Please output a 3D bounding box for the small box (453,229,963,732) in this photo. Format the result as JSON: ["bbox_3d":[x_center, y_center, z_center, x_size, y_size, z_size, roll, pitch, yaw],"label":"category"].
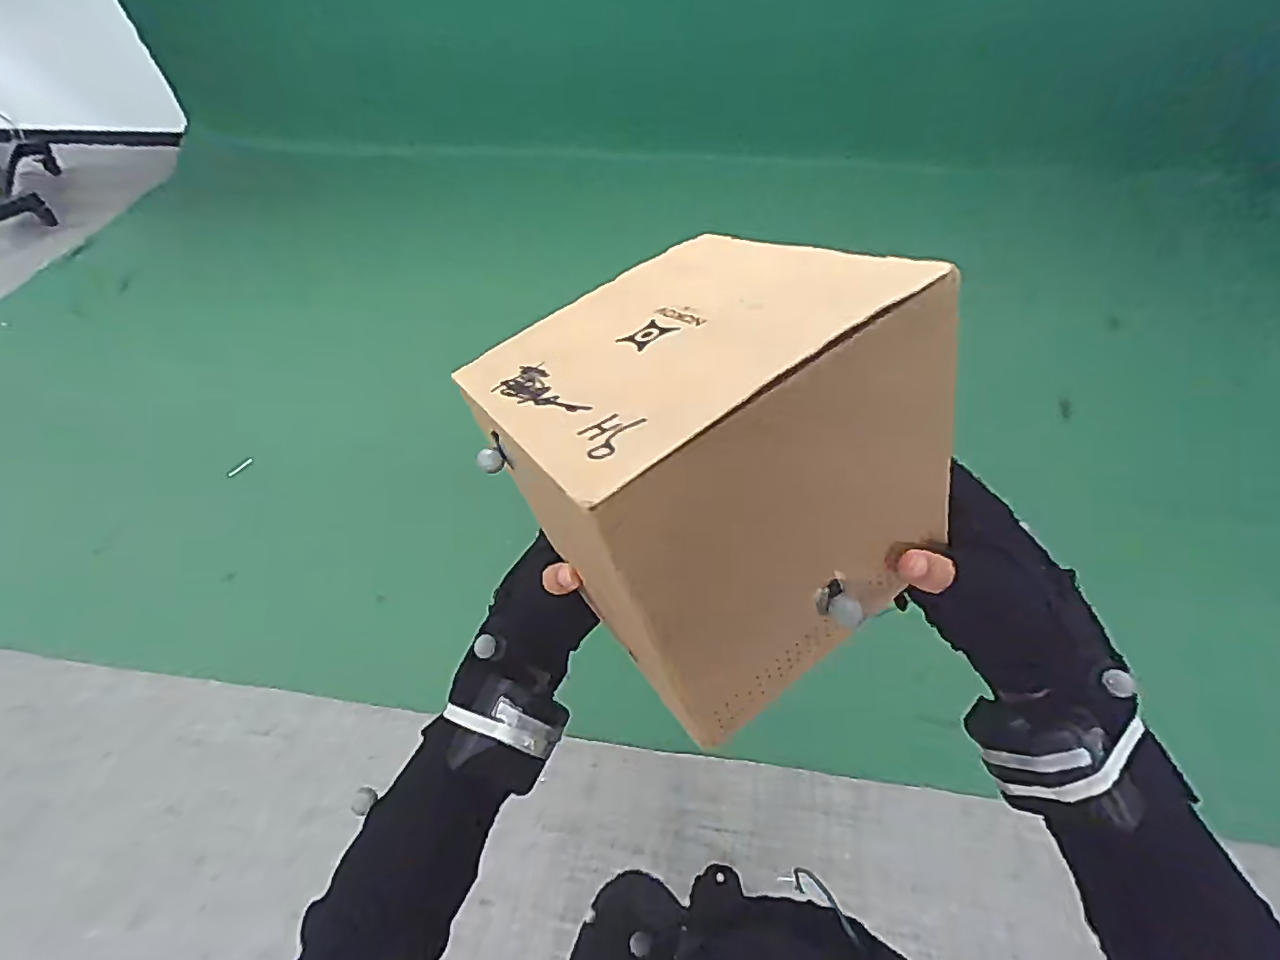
[{"bbox_3d":[0.036,-0.012,0.290,0.179,0.176,0.168,-34,38,-15],"label":"small box"}]
